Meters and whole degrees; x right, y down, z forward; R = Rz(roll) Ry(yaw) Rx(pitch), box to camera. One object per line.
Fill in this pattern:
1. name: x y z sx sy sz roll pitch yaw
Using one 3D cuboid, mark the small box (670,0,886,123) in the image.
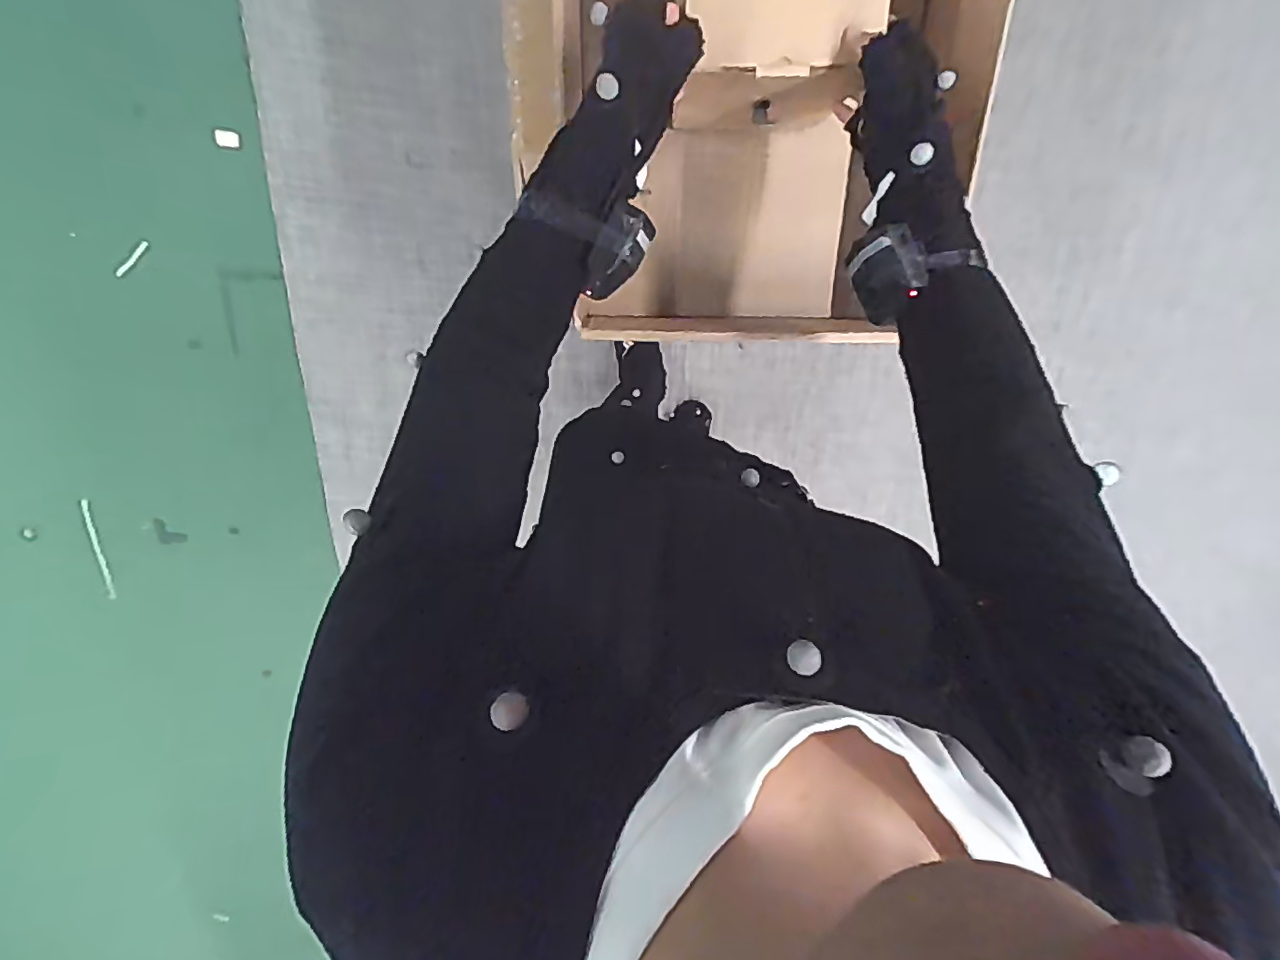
1. small box: 0.116 -0.446 0.494 0.168 0.176 0.179 0 109 0
